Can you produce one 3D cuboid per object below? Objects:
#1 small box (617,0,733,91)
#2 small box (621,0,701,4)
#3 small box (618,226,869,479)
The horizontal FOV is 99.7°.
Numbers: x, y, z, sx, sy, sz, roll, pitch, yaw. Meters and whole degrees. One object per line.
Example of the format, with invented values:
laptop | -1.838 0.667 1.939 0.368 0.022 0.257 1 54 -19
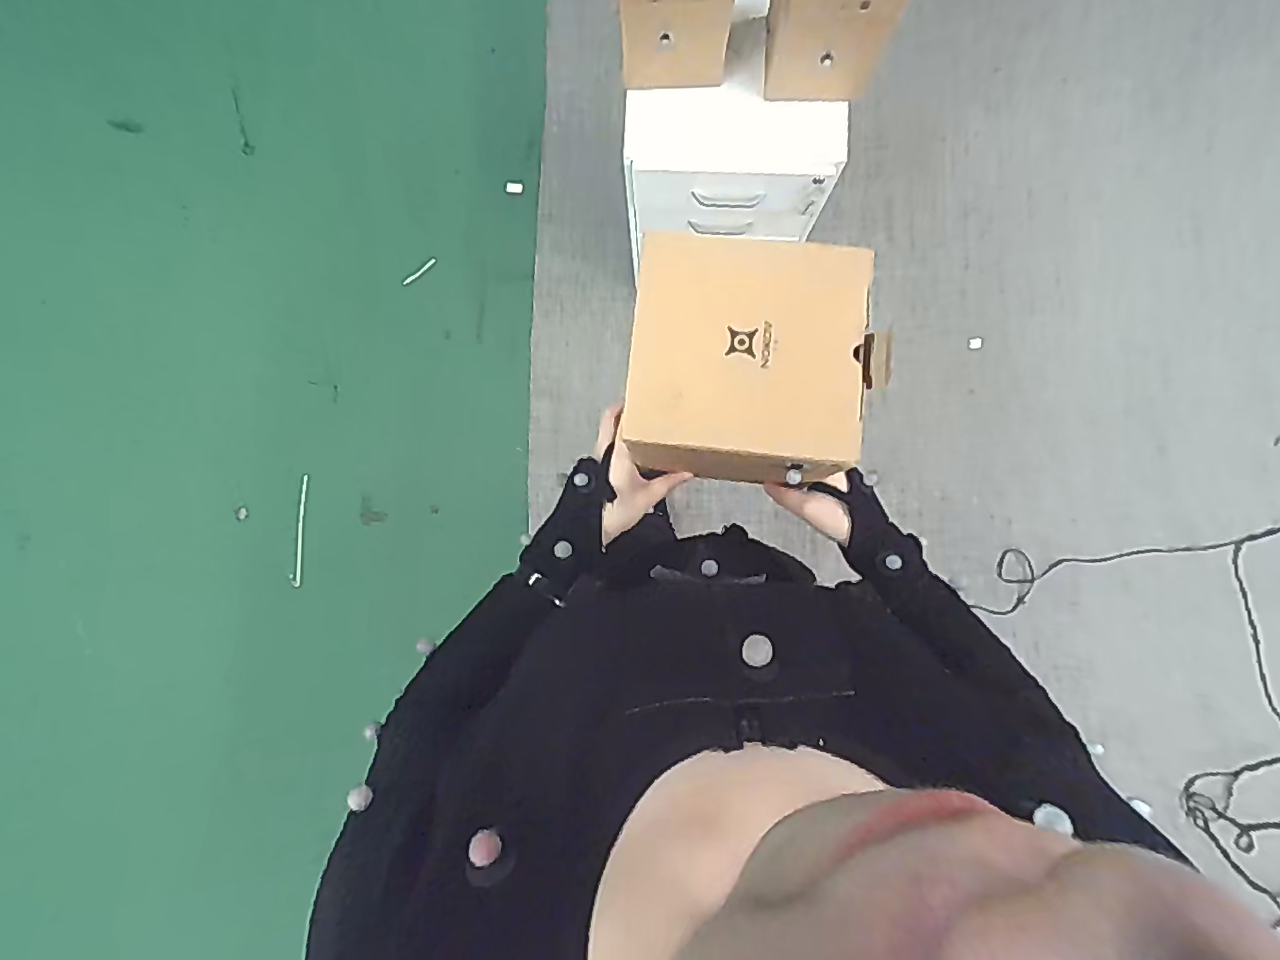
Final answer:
small box | 0.054 -0.783 0.896 0.179 0.176 0.168 -2 86 0
small box | 0.050 -0.798 0.733 0.179 0.176 0.168 -3 85 1
small box | 0.081 -0.097 0.480 0.179 0.176 0.168 6 84 2
